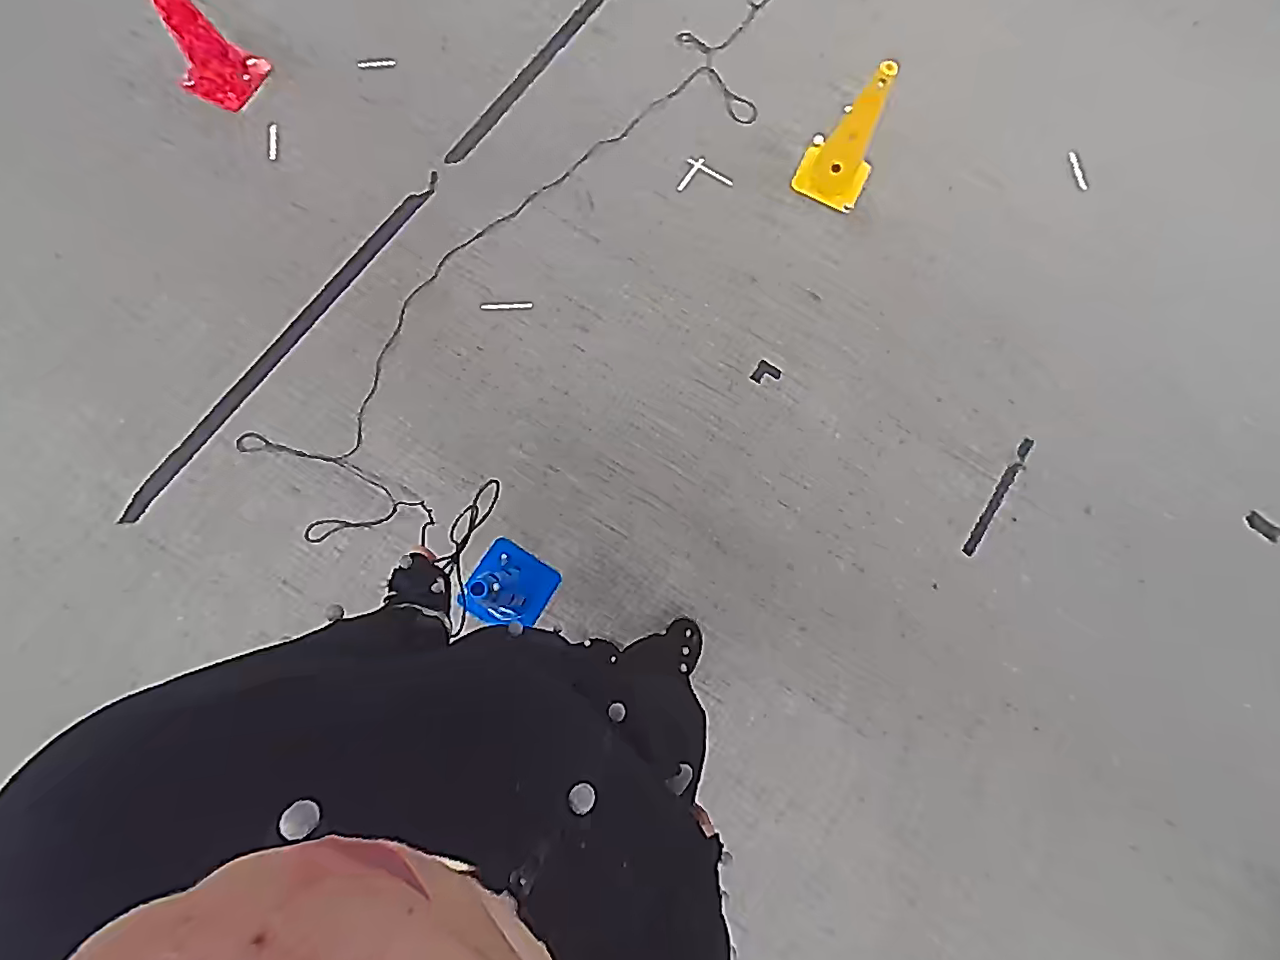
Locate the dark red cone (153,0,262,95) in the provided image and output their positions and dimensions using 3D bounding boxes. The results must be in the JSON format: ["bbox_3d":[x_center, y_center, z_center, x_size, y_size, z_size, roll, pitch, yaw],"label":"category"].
[{"bbox_3d":[-1.208,-1.245,1.399,0.201,0.394,0.202,26,78,1],"label":"dark red cone"}]

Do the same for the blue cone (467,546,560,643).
[{"bbox_3d":[-0.303,0.249,1.182,0.192,0.380,0.193,34,79,3],"label":"blue cone"}]
